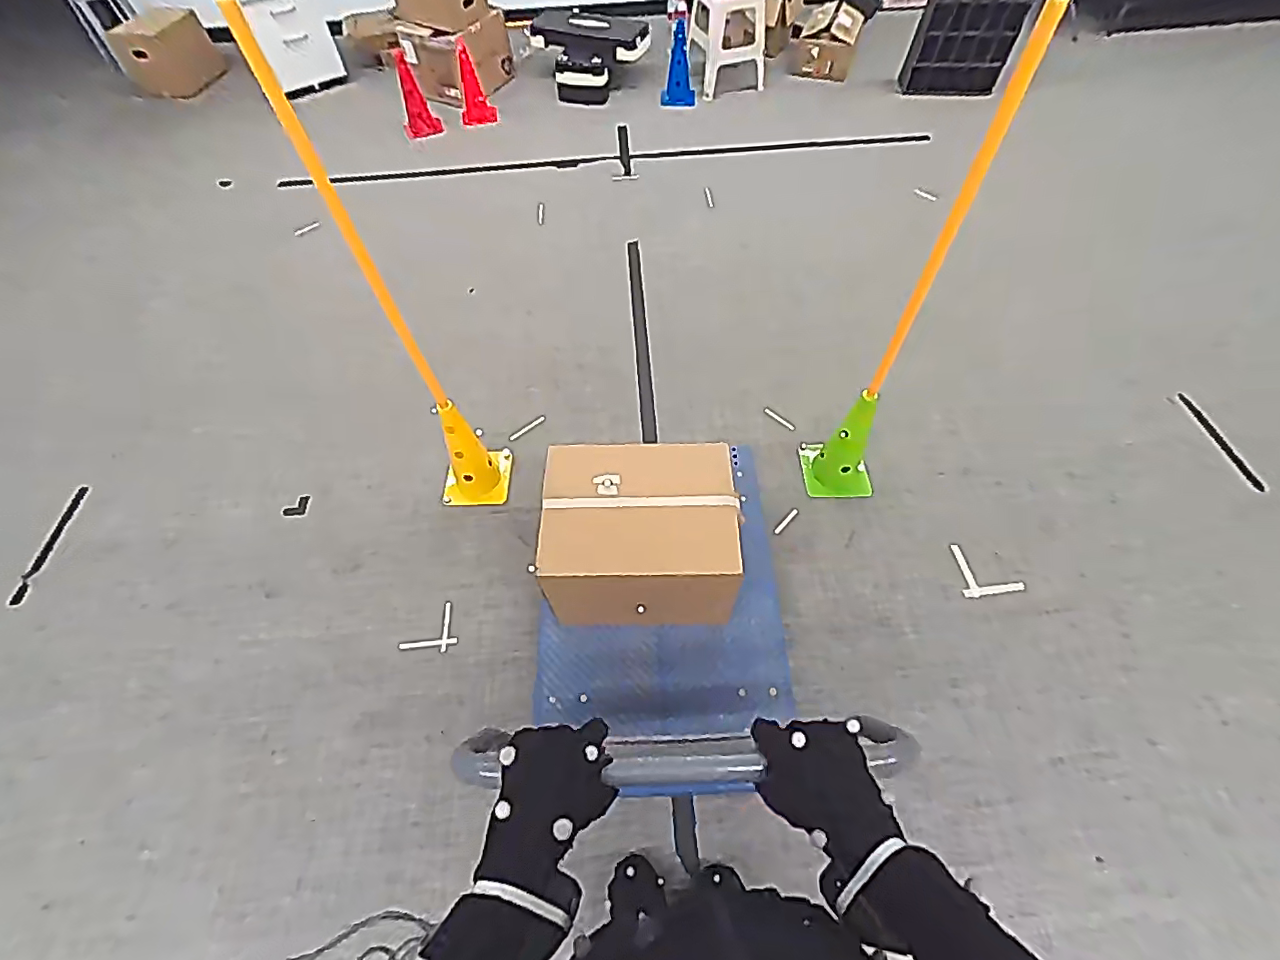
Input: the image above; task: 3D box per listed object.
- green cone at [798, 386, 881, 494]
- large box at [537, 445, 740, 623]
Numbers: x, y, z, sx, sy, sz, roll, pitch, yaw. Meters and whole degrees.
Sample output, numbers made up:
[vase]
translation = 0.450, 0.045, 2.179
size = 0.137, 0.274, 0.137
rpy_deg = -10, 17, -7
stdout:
[green cone]
translation = 0.614, -0.133, 1.575
size = 0.202, 0.368, 0.200
rpy_deg = 0, 57, 0
[large box]
translation = 0.002, 0.135, 1.252
size = 0.408, 0.320, 0.320
rpy_deg = -1, 57, 2
